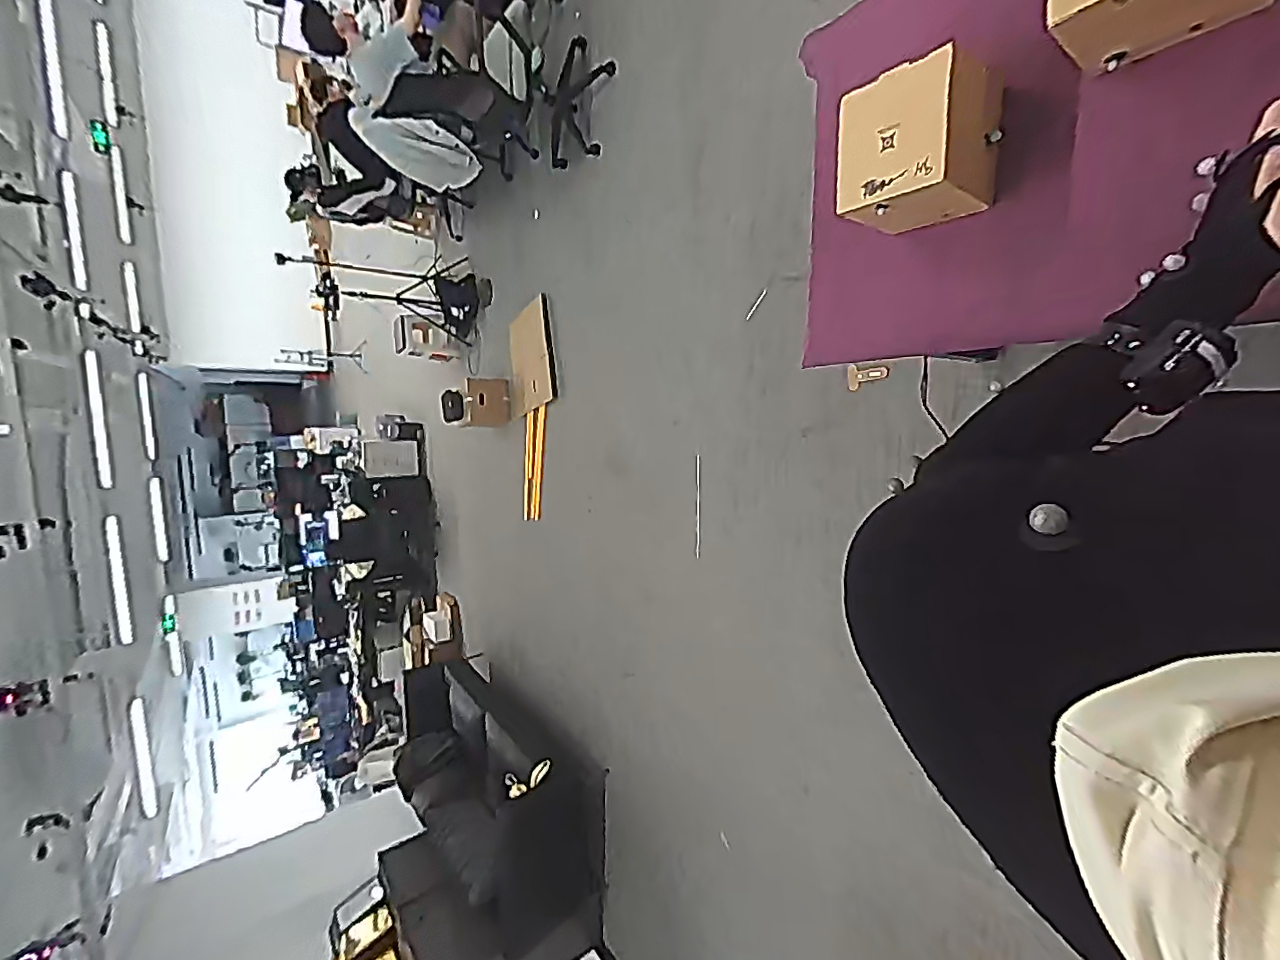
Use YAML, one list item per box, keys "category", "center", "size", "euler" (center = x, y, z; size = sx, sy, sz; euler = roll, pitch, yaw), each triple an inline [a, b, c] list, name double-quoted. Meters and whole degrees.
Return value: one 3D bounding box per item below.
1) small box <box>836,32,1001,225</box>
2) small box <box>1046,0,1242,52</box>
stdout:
- category: "small box"
  center: [0.425, -0.516, 0.827]
  size: [0.168, 0.176, 0.179]
  euler: [10, 103, 54]
- category: "small box"
  center: [0.583, -0.623, 0.601]
  size: [0.168, 0.176, 0.179]
  euler: [7, 100, 53]
